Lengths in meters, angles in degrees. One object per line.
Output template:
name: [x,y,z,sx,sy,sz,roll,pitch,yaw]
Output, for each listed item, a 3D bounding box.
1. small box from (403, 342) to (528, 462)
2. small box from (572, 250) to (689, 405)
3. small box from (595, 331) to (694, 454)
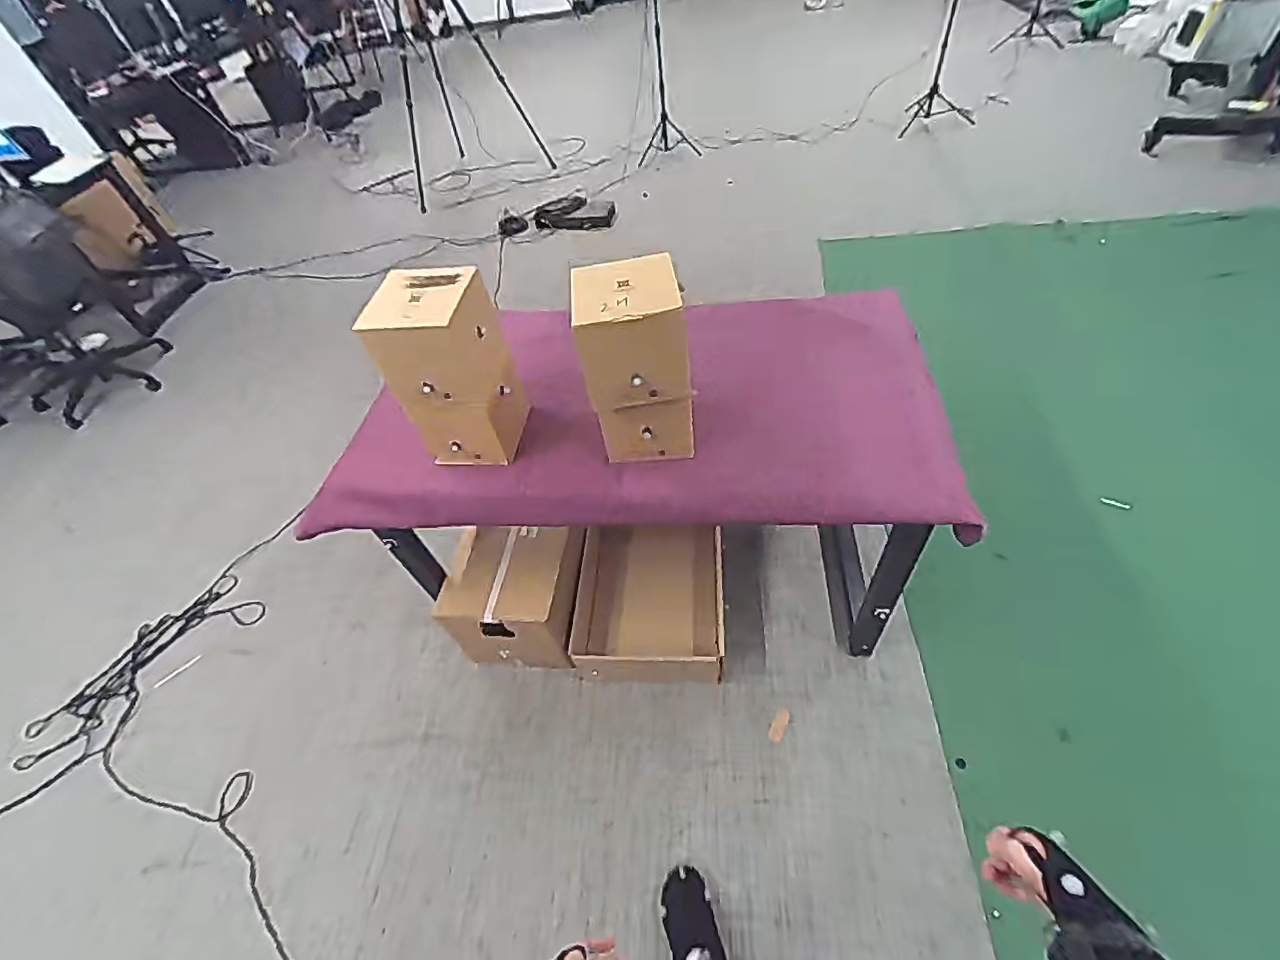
small box: [-0.336,-0.158,1.088,0.168,0.176,0.179,1,51,9]
small box: [-0.014,-0.250,0.893,0.168,0.176,0.179,-9,49,3]
small box: [0.015,-0.161,1.032,0.168,0.176,0.179,-3,49,6]
